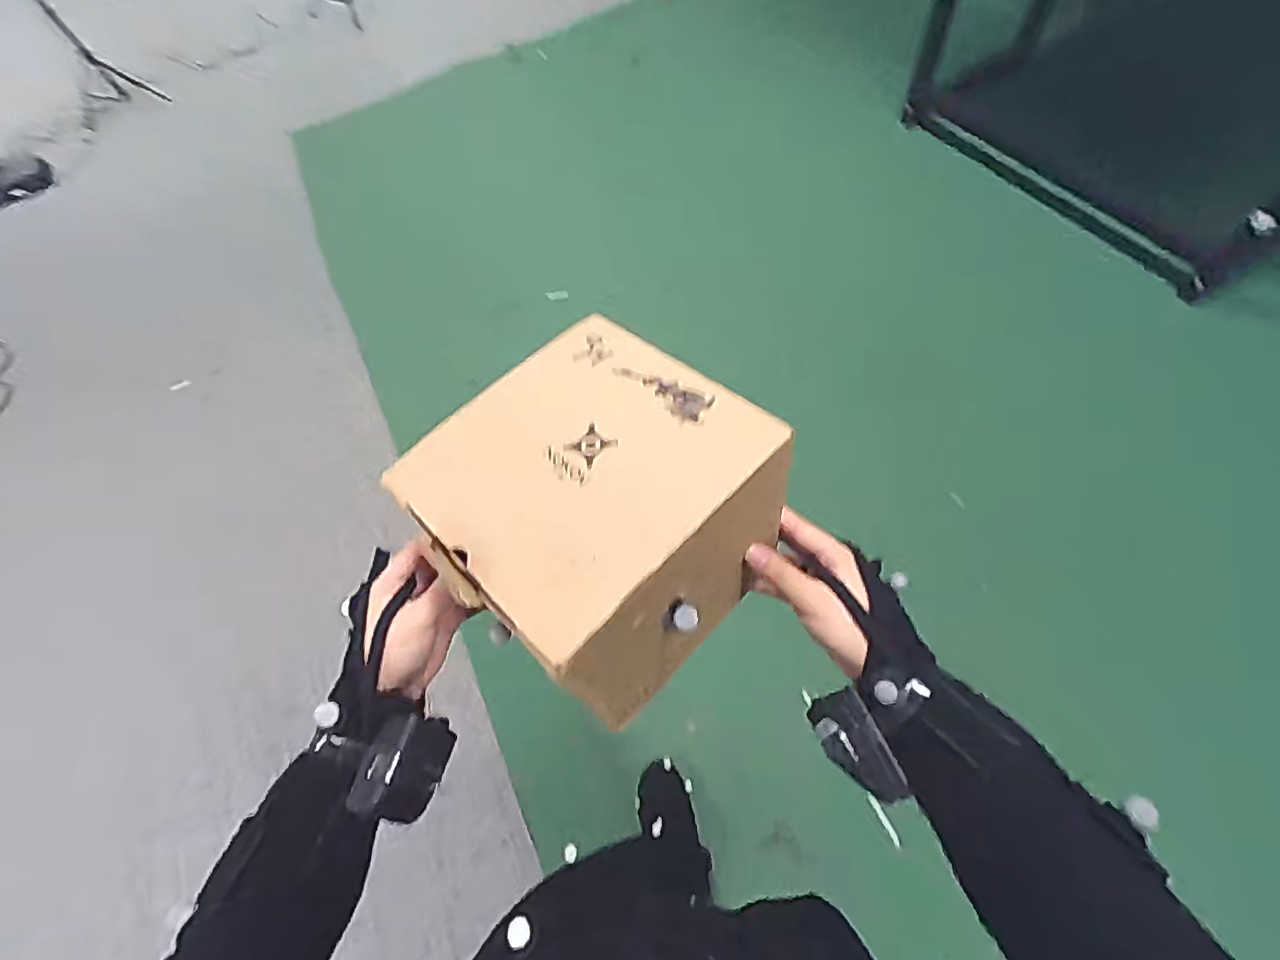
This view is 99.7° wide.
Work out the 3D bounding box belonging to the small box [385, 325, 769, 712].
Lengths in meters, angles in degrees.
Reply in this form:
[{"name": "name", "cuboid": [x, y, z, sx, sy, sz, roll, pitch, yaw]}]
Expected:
[{"name": "small box", "cuboid": [-0.028, 0.033, 0.381, 0.168, 0.176, 0.179, 37, 69, 27]}]
